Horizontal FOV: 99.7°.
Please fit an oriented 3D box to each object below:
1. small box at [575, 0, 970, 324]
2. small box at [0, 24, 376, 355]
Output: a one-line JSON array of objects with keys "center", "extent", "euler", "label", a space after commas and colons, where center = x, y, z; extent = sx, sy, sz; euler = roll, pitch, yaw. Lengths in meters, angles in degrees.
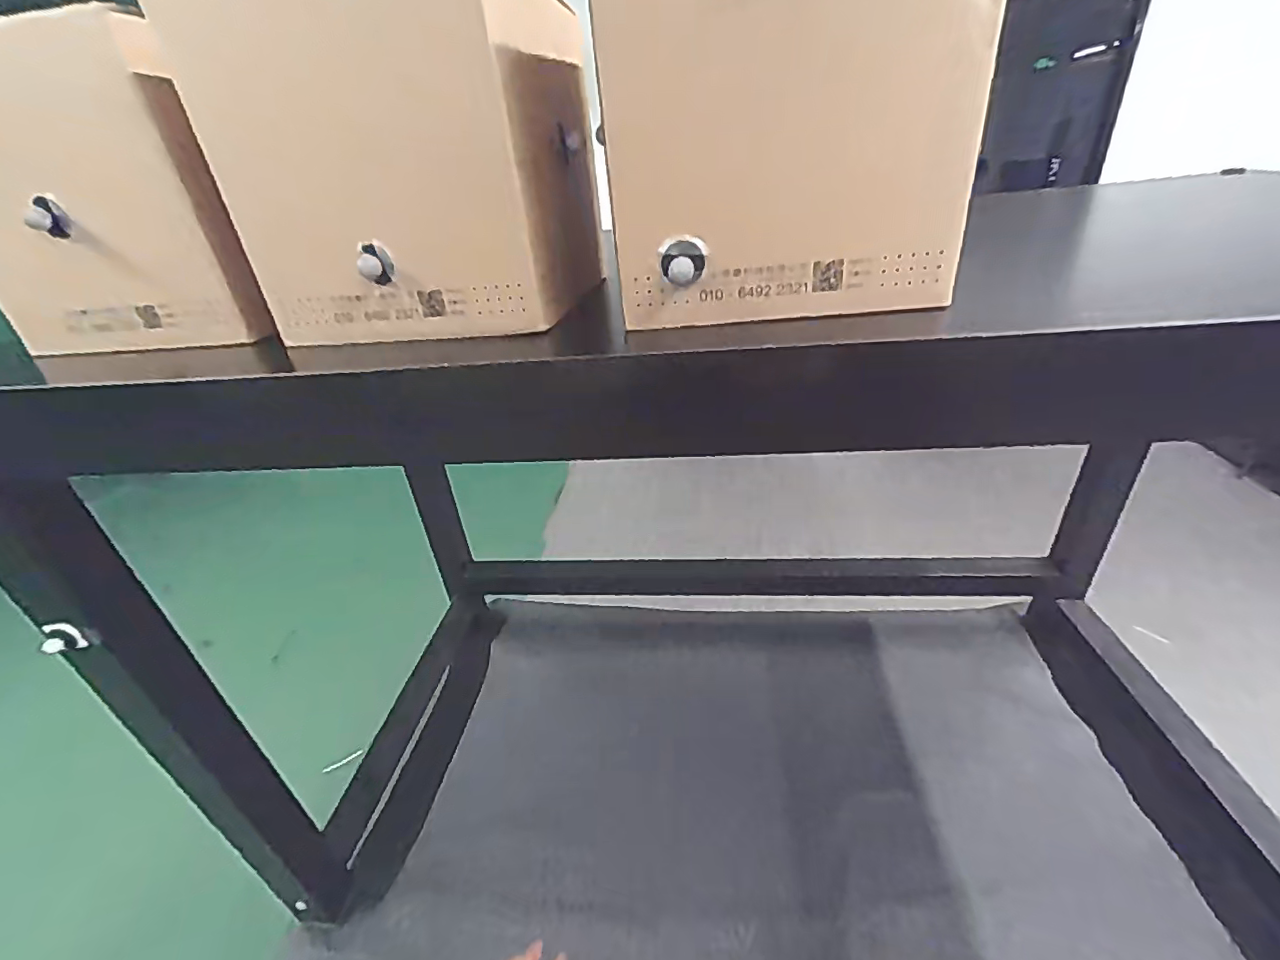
[{"center": [0.068, -0.192, 0.316], "extent": [0.168, 0.176, 0.179], "euler": [-3, 29, 6], "label": "small box"}, {"center": [-0.324, -0.192, 0.389], "extent": [0.168, 0.176, 0.179], "euler": [-1, 29, 8], "label": "small box"}]
